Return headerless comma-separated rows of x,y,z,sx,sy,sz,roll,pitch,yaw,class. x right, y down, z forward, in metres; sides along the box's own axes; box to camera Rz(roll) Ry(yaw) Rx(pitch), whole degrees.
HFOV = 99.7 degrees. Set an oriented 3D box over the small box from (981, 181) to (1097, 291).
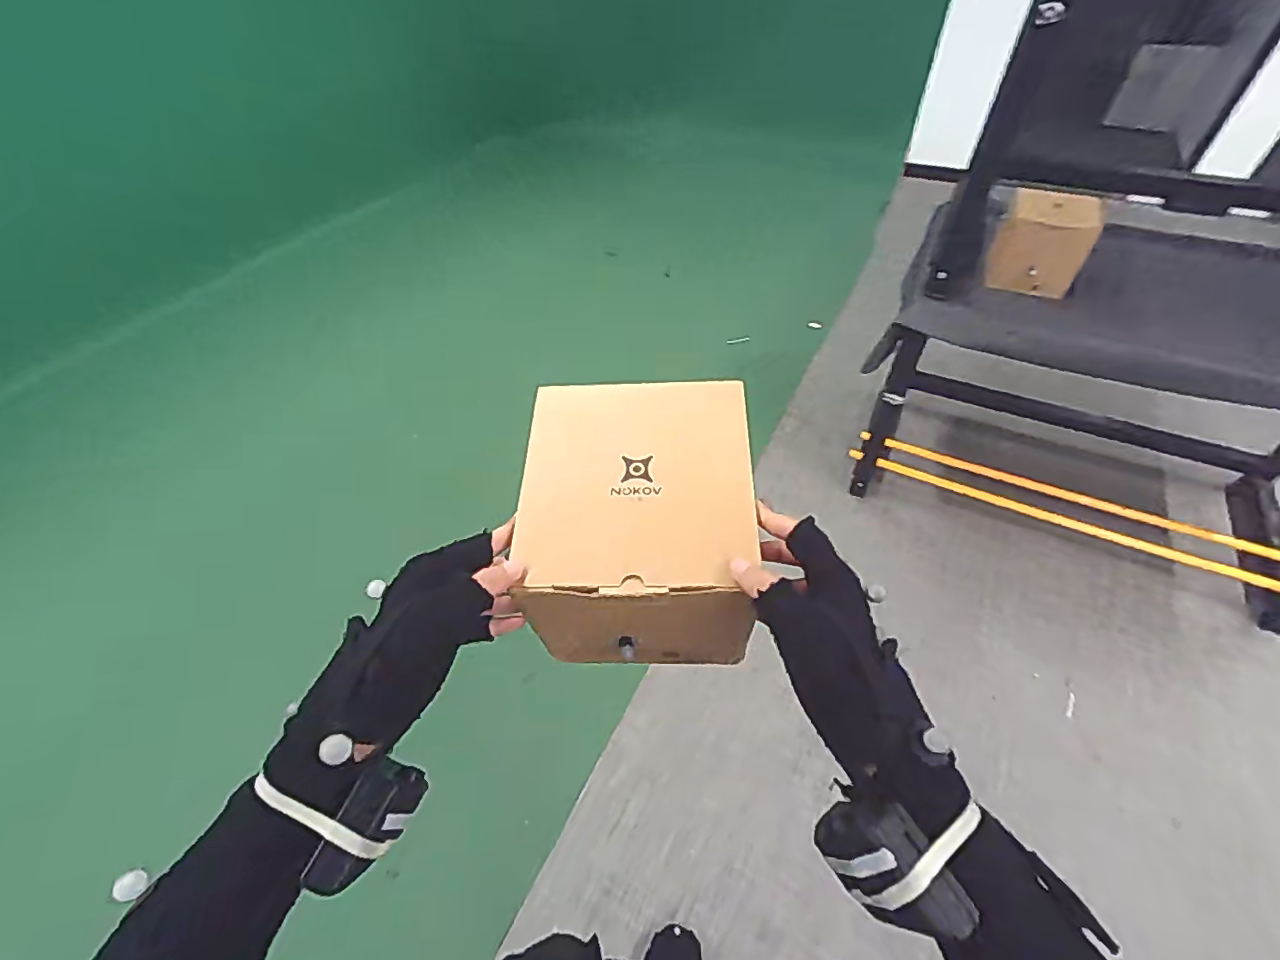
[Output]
0.930,-0.574,1.272,0.168,0.176,0.179,18,53,18,small box
